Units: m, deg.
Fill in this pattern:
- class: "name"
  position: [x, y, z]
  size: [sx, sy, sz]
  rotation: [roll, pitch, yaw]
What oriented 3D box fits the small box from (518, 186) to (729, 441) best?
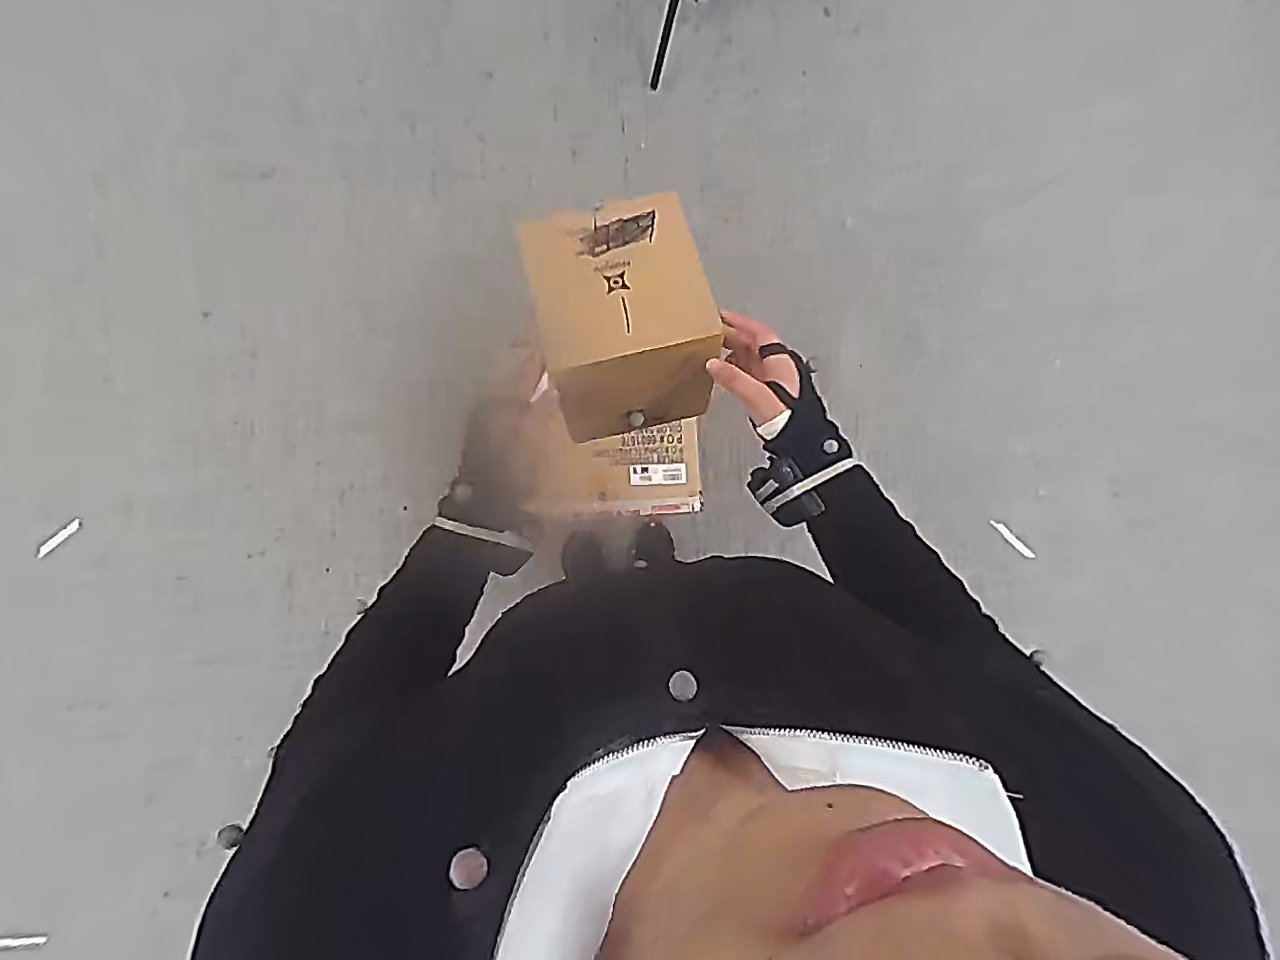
- class: "small box"
  position: [-0.020, -0.163, 0.565]
  size: [0.168, 0.176, 0.179]
  rotation: [-12, 72, -4]
